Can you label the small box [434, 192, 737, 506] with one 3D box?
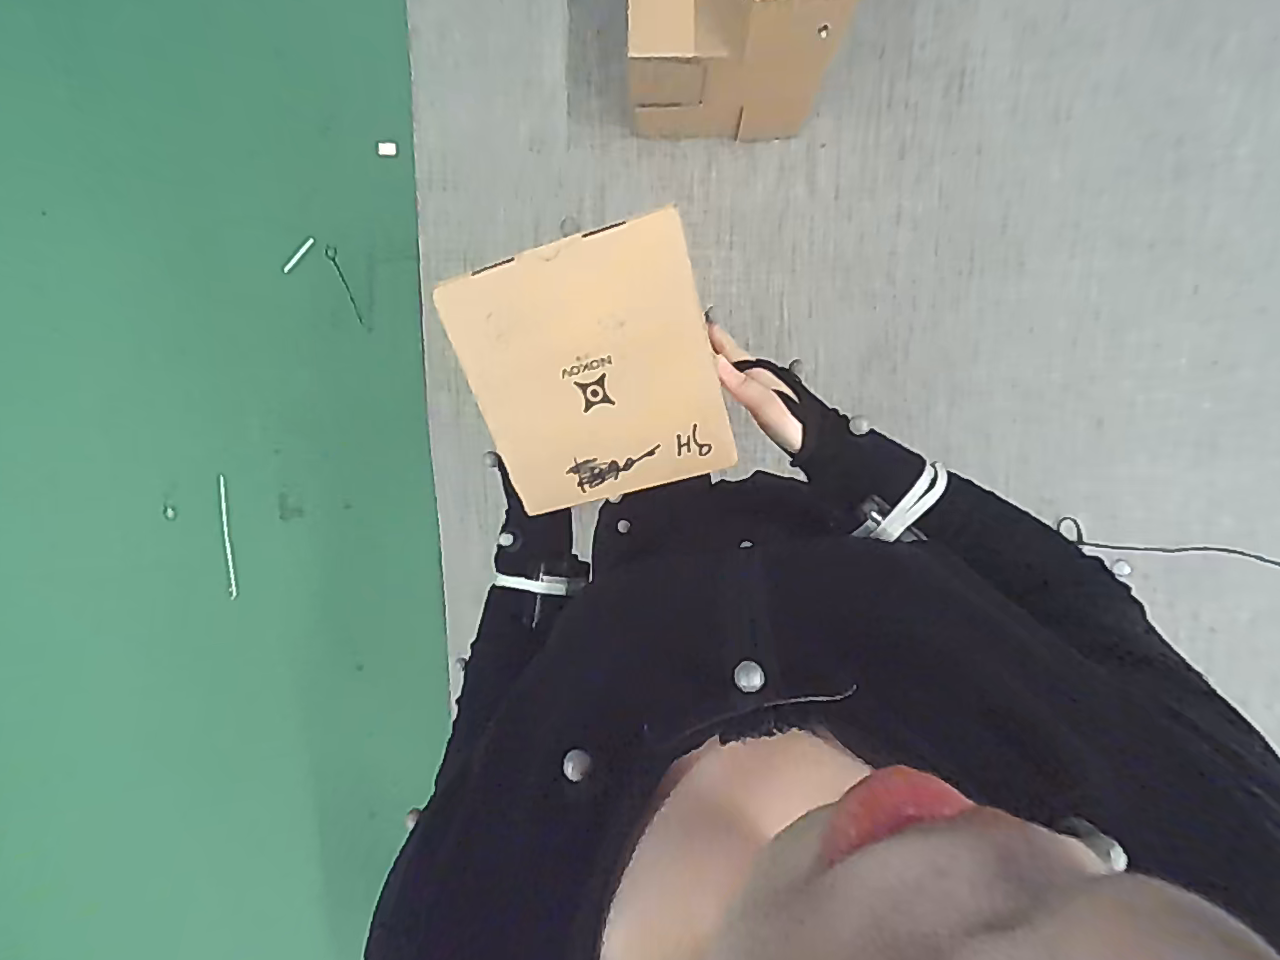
[{"bbox_3d":[-0.027,-0.107,0.436,0.168,0.176,0.179,-14,112,11],"label":"small box"}]
